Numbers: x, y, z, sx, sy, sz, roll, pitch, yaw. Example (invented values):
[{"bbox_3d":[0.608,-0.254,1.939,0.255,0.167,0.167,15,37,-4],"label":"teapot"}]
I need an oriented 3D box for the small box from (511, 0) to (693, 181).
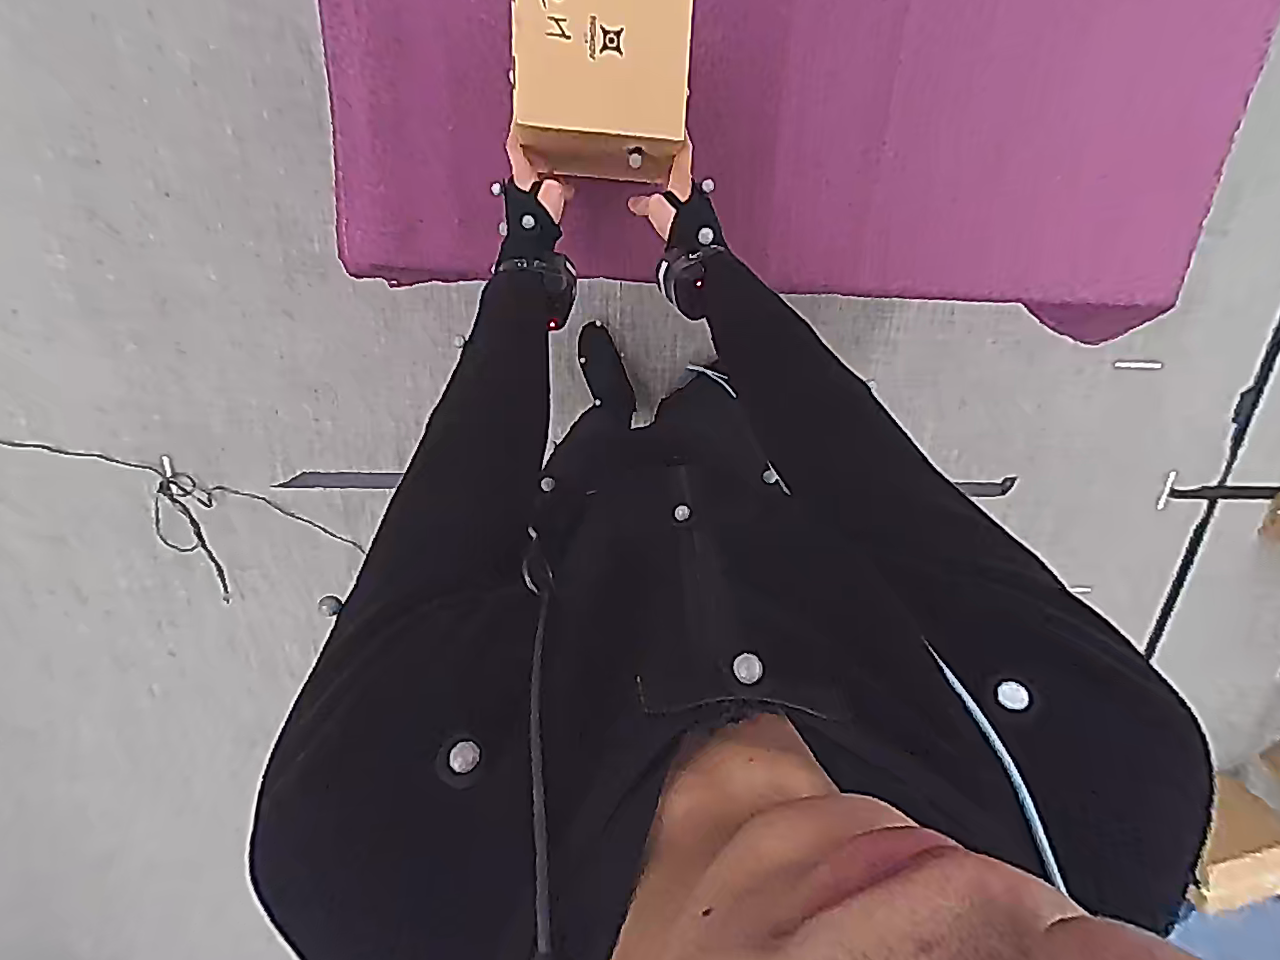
[{"bbox_3d":[-0.046,-0.448,0.600,0.179,0.176,0.168,2,105,-7],"label":"small box"}]

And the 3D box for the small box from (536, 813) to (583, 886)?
[{"bbox_3d":[-0.305,1.400,2.059,0.168,0.176,0.179,3,111,-6],"label":"small box"}]
